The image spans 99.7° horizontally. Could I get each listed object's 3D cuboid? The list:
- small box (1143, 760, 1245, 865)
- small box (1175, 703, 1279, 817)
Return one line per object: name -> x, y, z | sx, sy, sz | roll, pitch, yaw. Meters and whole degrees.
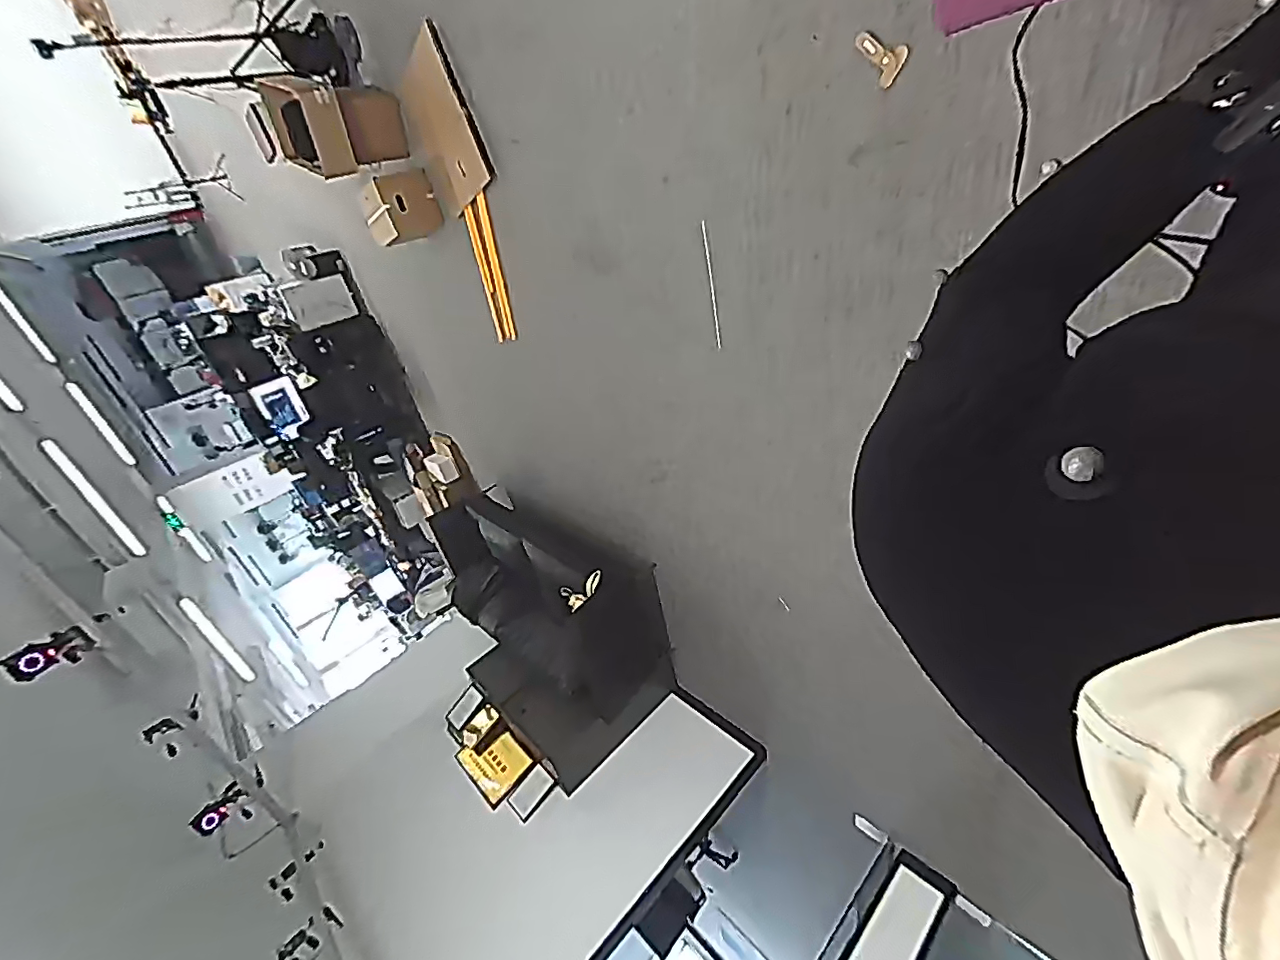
small box -> 1.649, 0.979, 1.607 | 0.168, 0.176, 0.179 | 25, 138, 43
small box -> 1.601, 0.749, 1.458 | 0.168, 0.176, 0.179 | 24, 136, 43
